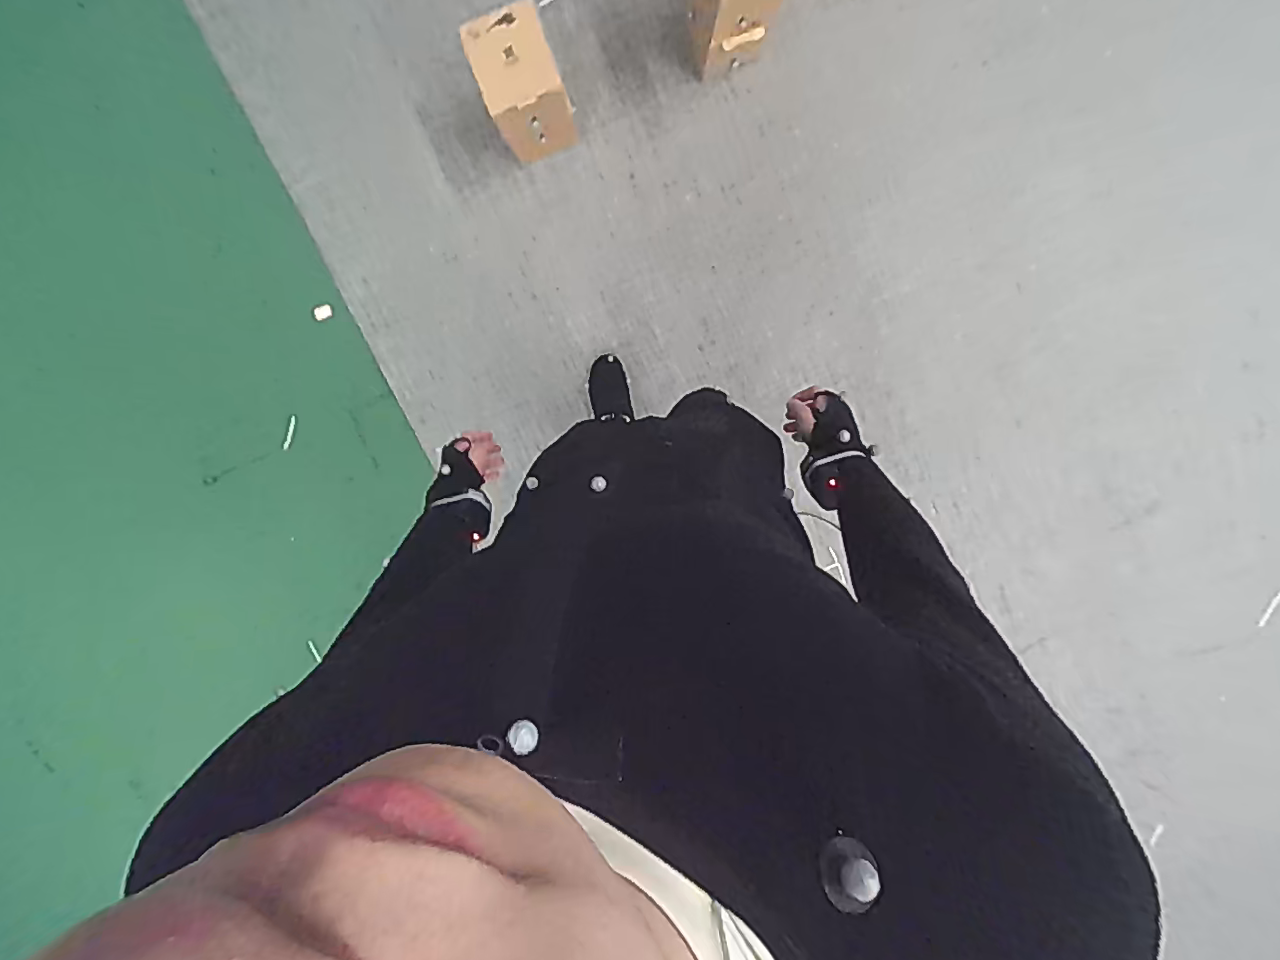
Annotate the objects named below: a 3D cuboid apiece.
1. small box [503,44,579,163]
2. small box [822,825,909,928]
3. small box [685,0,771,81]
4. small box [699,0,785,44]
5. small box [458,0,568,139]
[{"bbox_3d":[-0.265,-0.927,1.351,0.179,0.176,0.168,-19,102,3],"label":"small box"},{"bbox_3d":[0.666,1.173,1.618,0.168,0.176,0.179,-21,102,4],"label":"small box"},{"bbox_3d":[0.206,-1.120,1.309,0.168,0.176,0.179,-12,103,4],"label":"small box"},{"bbox_3d":[0.213,-1.091,1.151,0.168,0.176,0.179,-18,102,3],"label":"small box"},{"bbox_3d":[-0.268,-0.886,1.192,0.168,0.176,0.179,-19,103,4],"label":"small box"}]
